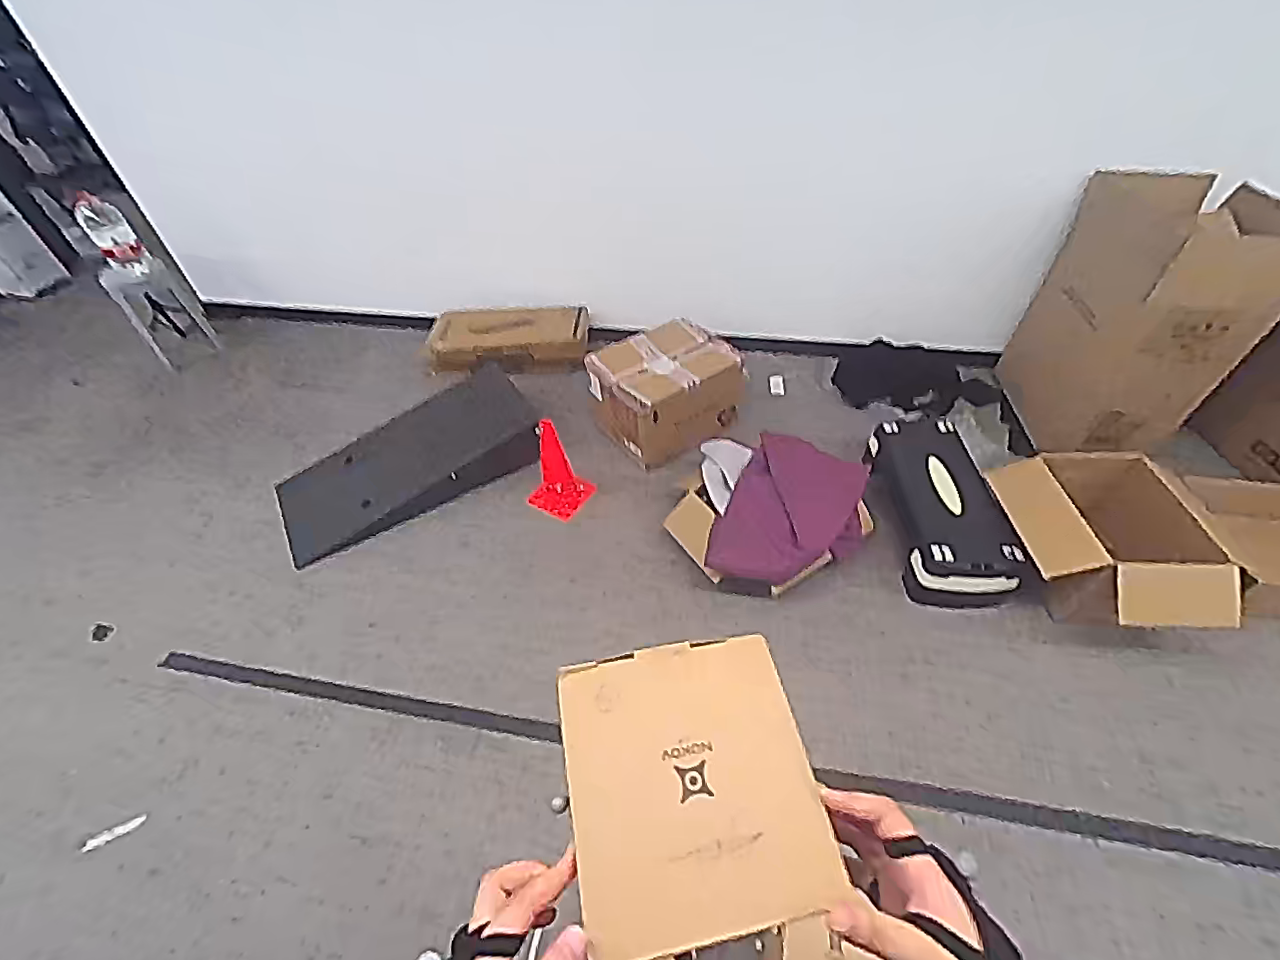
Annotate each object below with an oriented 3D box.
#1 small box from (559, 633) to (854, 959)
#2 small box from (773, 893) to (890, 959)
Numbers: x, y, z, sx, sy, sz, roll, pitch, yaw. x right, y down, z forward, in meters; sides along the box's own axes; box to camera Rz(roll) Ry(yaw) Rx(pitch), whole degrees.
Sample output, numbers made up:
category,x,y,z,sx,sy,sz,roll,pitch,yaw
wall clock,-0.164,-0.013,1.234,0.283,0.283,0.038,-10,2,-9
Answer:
category,x,y,z,sx,sy,sz,roll,pitch,yaw
small box,0.028,0.244,0.422,0.168,0.176,0.179,-7,53,-10
small box,0.322,0.822,0.929,0.168,0.176,0.179,7,47,11
